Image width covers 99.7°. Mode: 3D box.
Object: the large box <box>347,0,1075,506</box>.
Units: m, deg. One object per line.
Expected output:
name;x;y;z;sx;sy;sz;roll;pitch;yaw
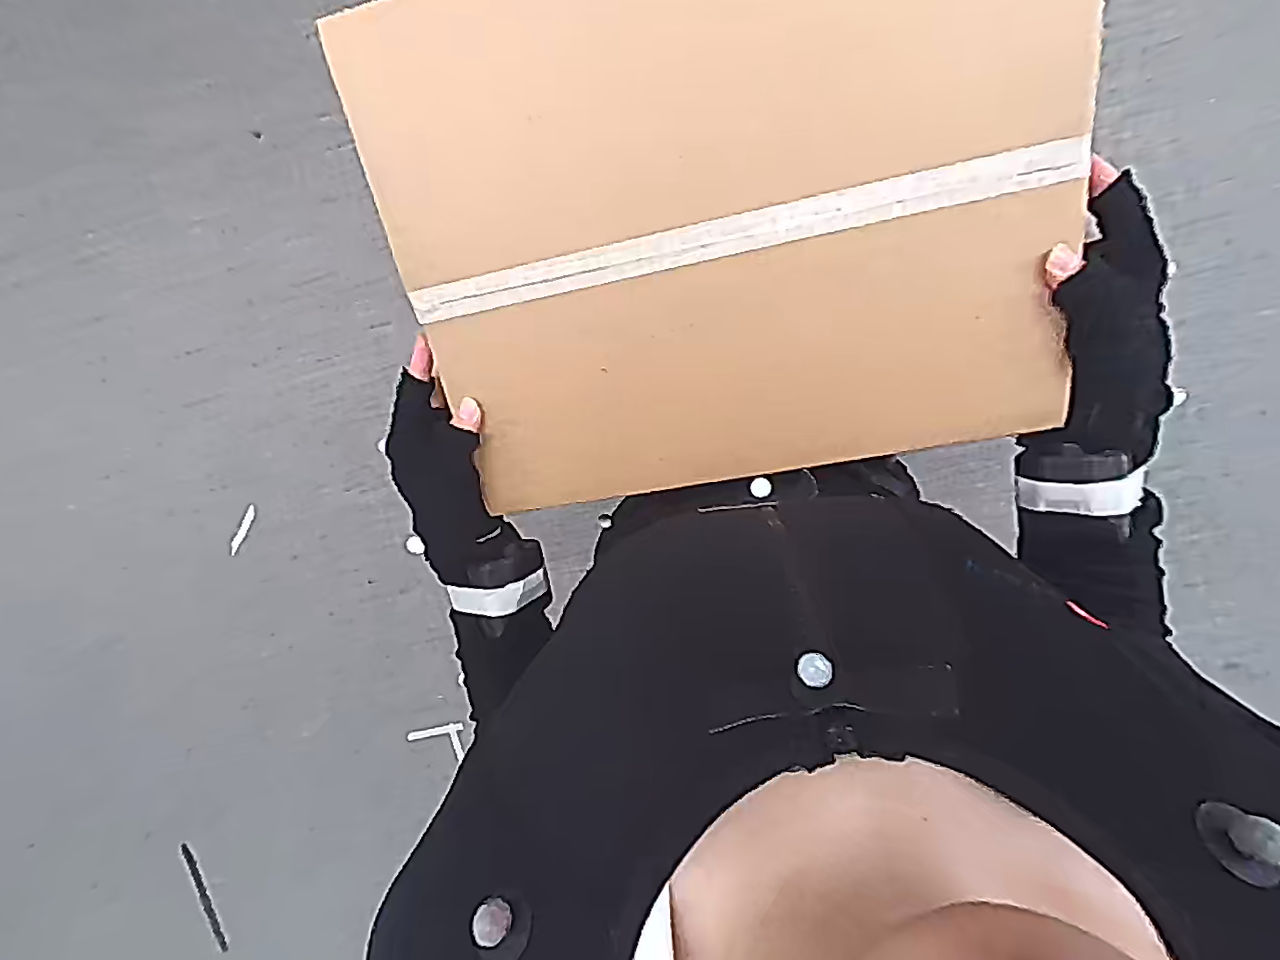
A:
large box;0.058;-0.206;0.477;0.408;0.320;0.320;-9;113;8
